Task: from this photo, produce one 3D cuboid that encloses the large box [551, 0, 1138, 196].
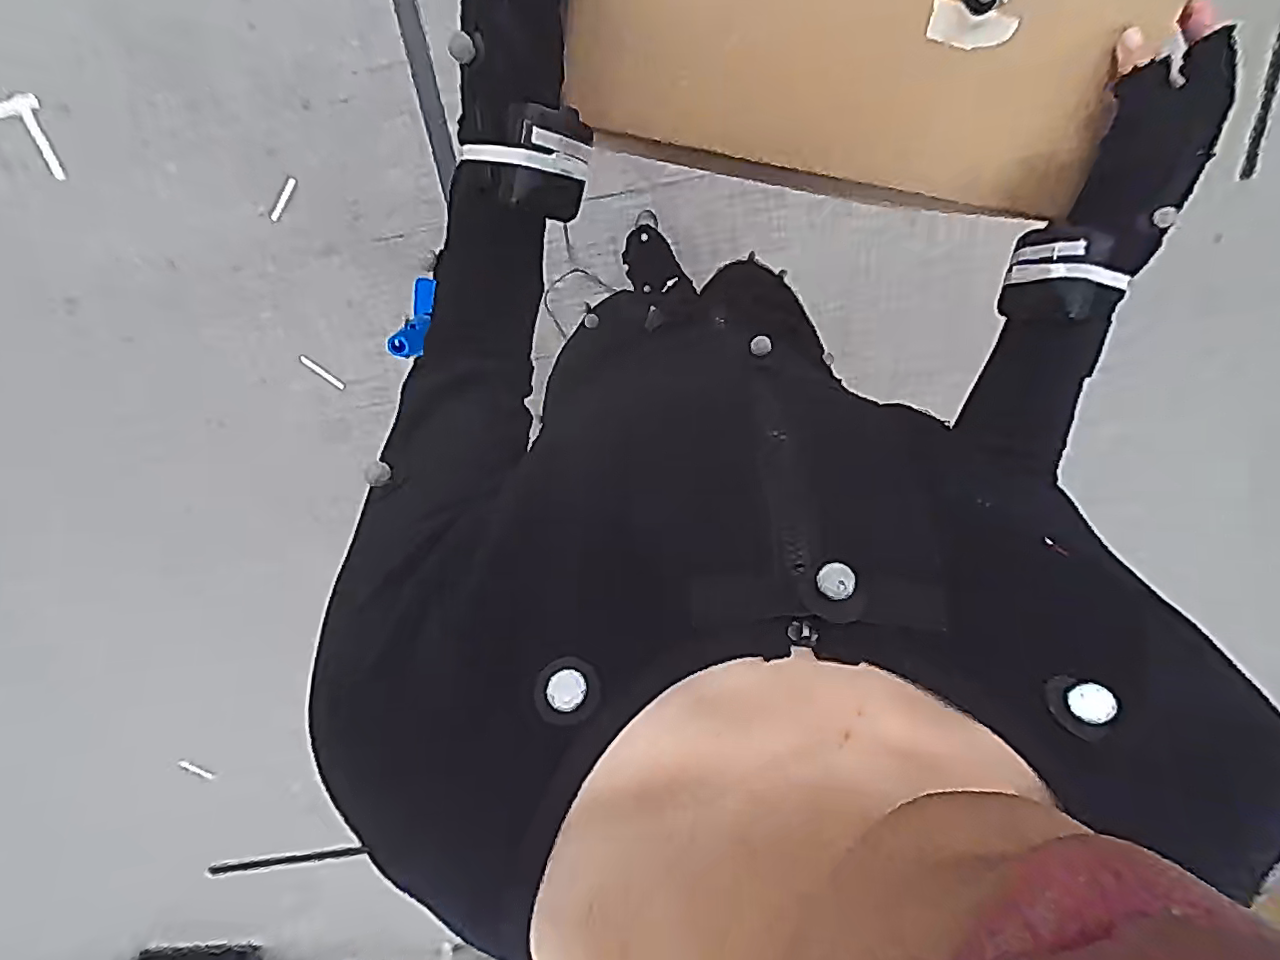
[{"bbox_3d":[0.145,-0.449,0.472,0.408,0.320,0.320,7,118,-5],"label":"large box"}]
